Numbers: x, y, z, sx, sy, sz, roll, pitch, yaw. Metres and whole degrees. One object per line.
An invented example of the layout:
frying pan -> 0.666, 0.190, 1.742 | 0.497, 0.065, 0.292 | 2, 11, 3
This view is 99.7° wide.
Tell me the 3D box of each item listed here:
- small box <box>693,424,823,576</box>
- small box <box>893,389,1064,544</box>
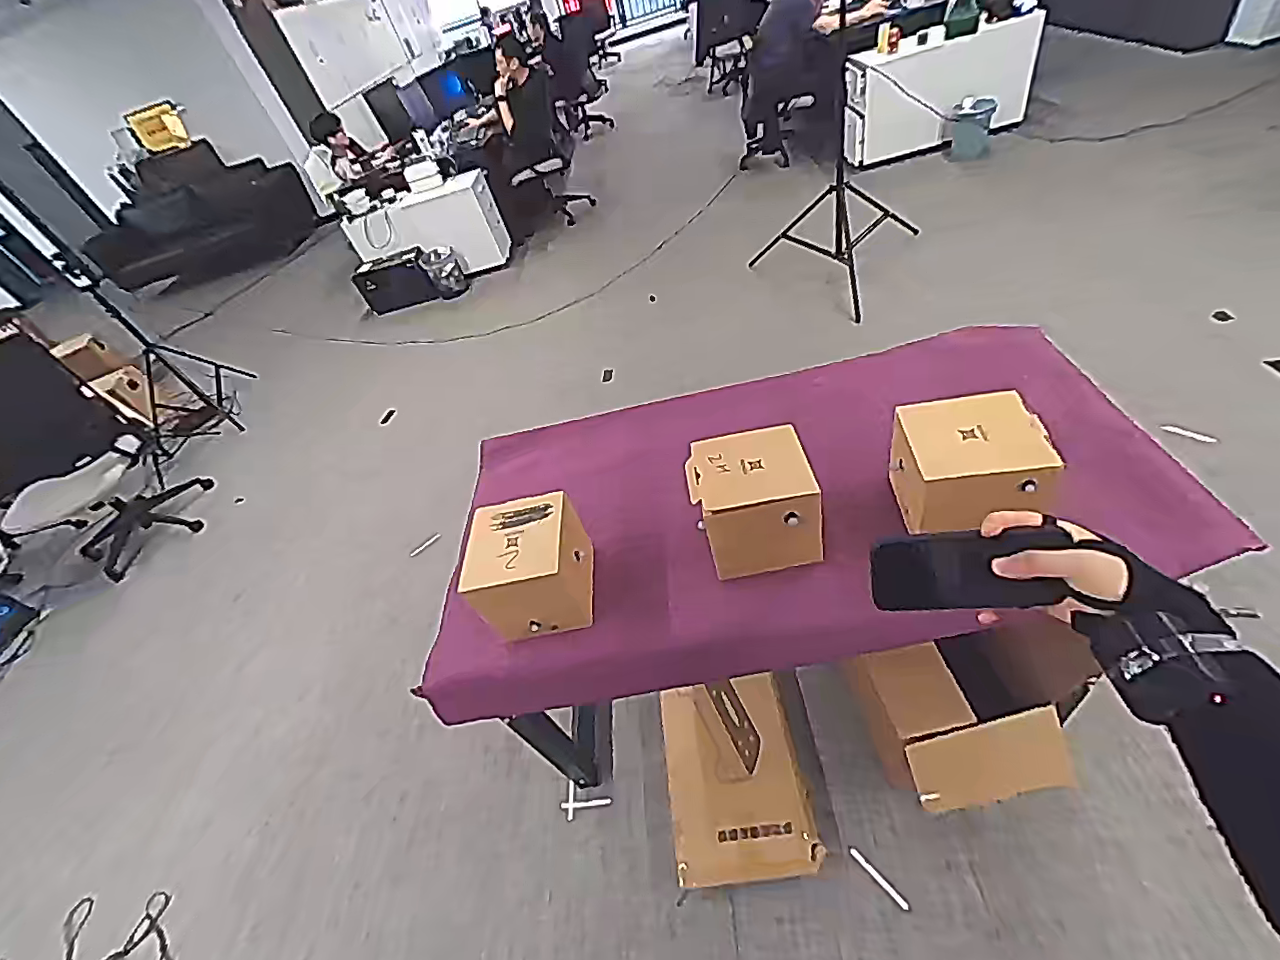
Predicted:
small box -> 0.195, 0.036, 0.899 | 0.179, 0.176, 0.168 | -13, 42, 8
small box -> 0.504, -0.015, 0.841 | 0.179, 0.176, 0.168 | -7, 45, 13
